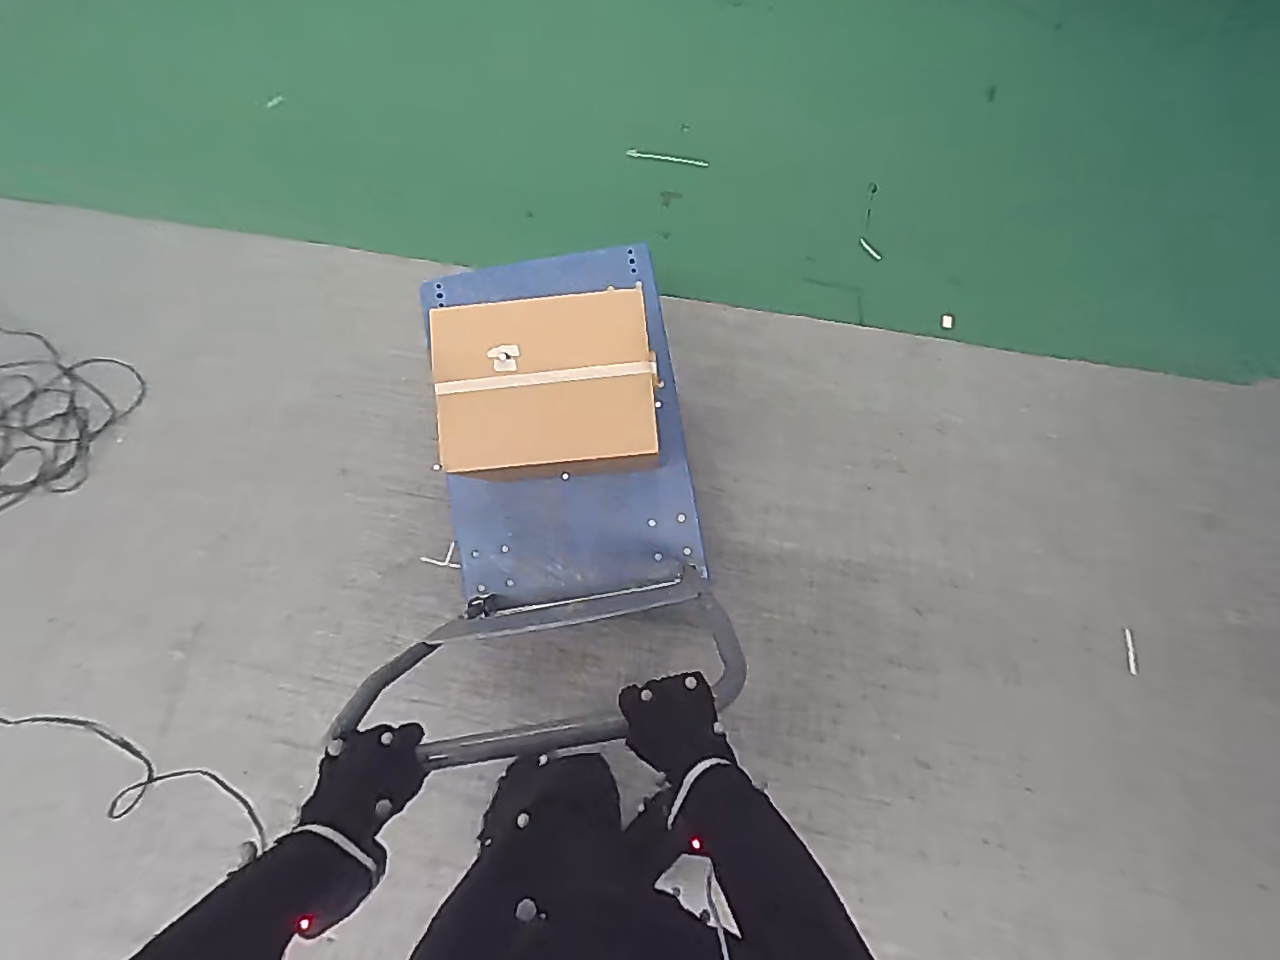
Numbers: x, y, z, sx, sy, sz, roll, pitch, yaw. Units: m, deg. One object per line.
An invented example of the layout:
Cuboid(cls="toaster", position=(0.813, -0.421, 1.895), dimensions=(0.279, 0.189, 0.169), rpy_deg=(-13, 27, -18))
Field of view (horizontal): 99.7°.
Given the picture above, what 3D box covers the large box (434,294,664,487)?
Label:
Cuboid(cls="large box", position=(-0.166, -0.163, 1.147), dimensions=(0.408, 0.320, 0.320), rpy_deg=(-6, 85, 2))
